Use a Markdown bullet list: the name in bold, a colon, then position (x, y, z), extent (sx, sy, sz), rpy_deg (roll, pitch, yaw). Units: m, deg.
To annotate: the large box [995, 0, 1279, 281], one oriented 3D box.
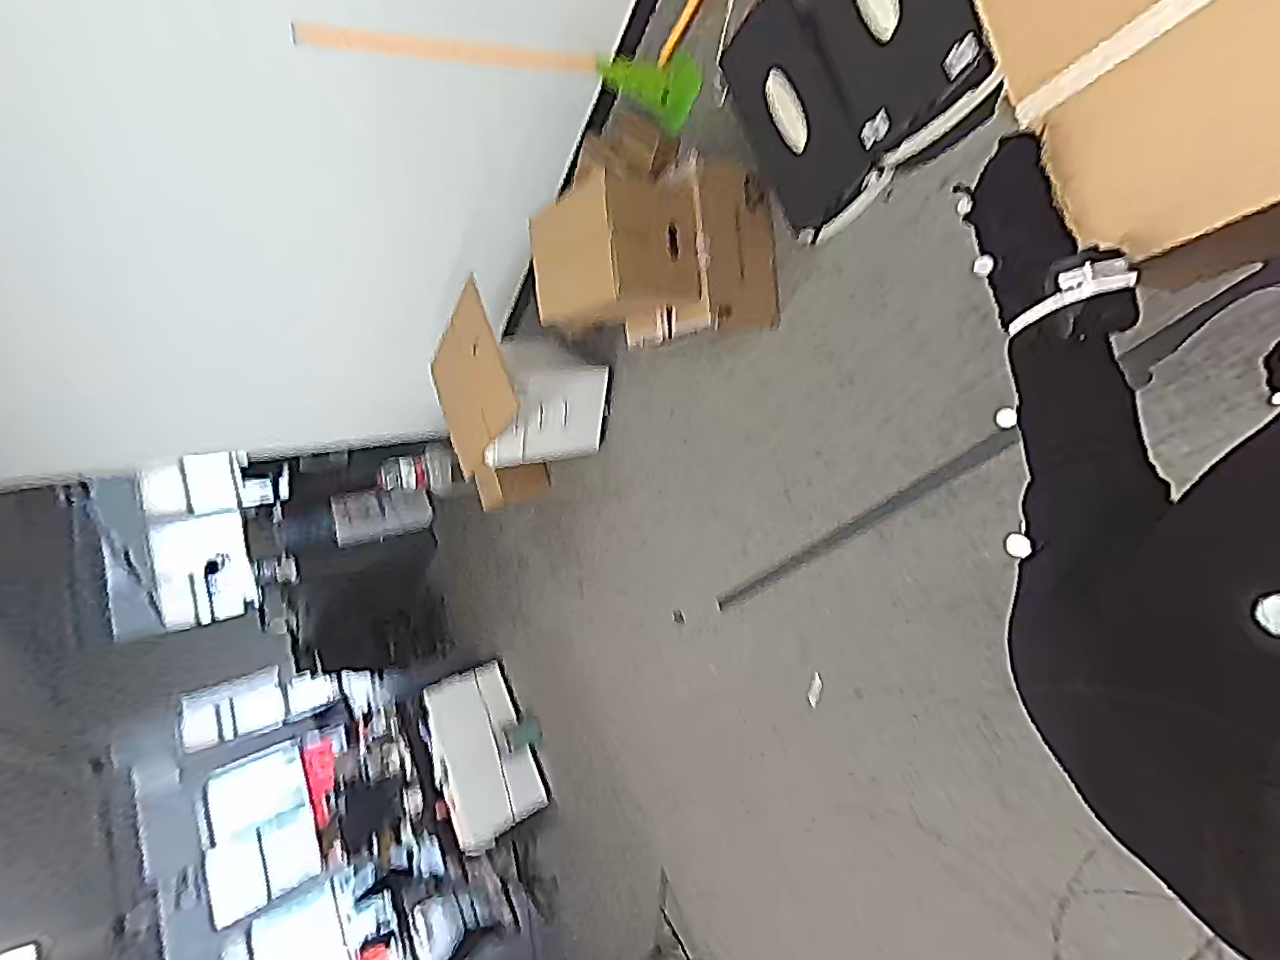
- **large box**: position (0.570, -0.395, 0.397), extent (0.408, 0.320, 0.320), rpy_deg (-23, 82, 54)
